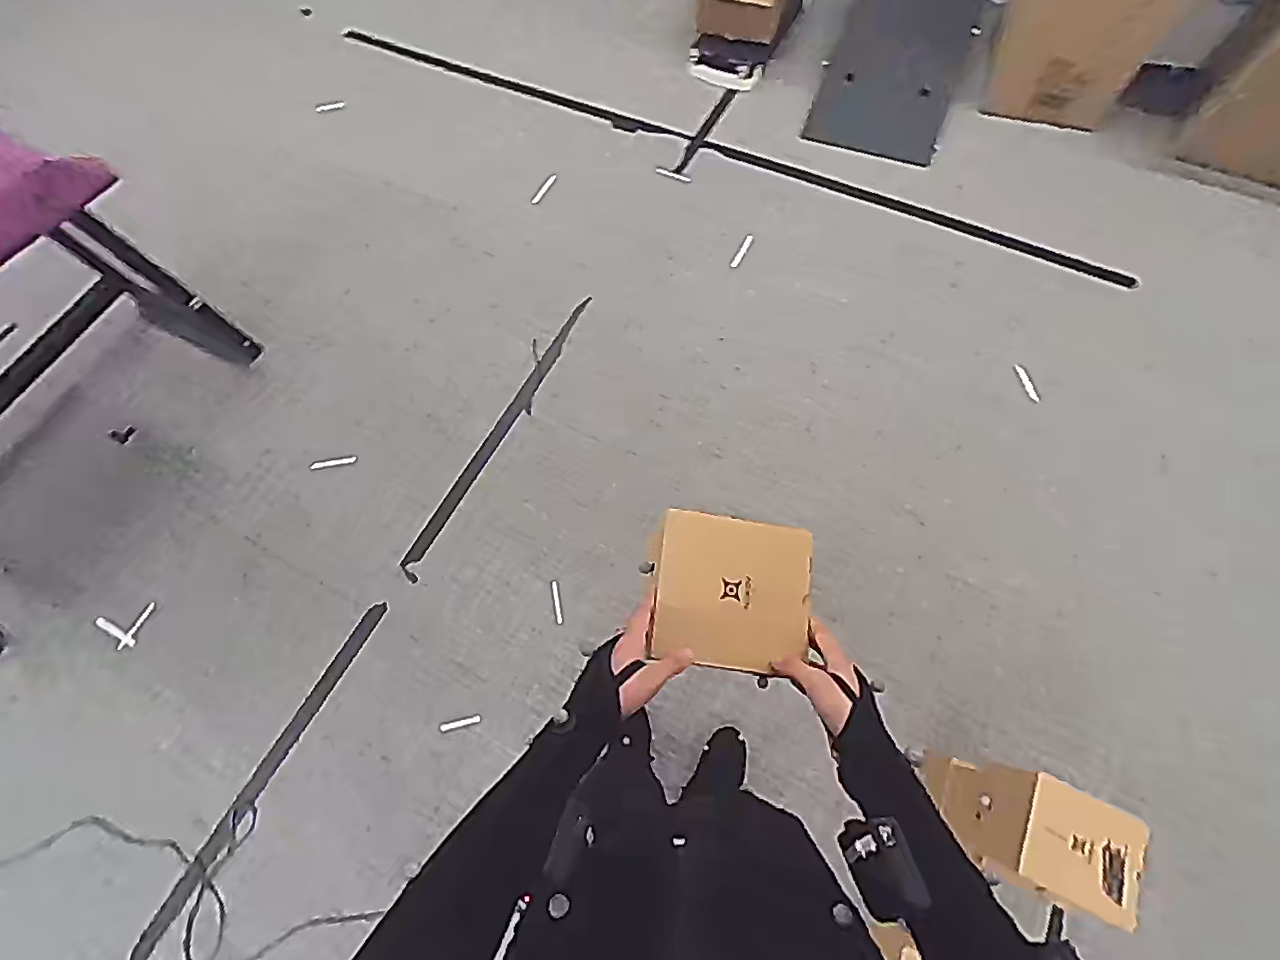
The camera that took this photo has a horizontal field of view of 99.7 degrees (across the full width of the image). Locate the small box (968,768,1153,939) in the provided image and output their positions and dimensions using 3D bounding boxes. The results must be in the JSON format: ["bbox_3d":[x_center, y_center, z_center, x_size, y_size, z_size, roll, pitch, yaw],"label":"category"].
[{"bbox_3d":[0.716,0.626,0.937,0.179,0.176,0.168,25,72,12],"label":"small box"}]

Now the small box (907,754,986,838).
[{"bbox_3d":[0.751,0.750,1.239,0.179,0.176,0.168,22,72,11],"label":"small box"}]

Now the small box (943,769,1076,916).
[{"bbox_3d":[0.739,0.706,1.081,0.168,0.176,0.179,21,72,11],"label":"small box"}]

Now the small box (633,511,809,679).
[{"bbox_3d":[0.090,0.148,0.666,0.179,0.176,0.168,9,72,-5],"label":"small box"}]
